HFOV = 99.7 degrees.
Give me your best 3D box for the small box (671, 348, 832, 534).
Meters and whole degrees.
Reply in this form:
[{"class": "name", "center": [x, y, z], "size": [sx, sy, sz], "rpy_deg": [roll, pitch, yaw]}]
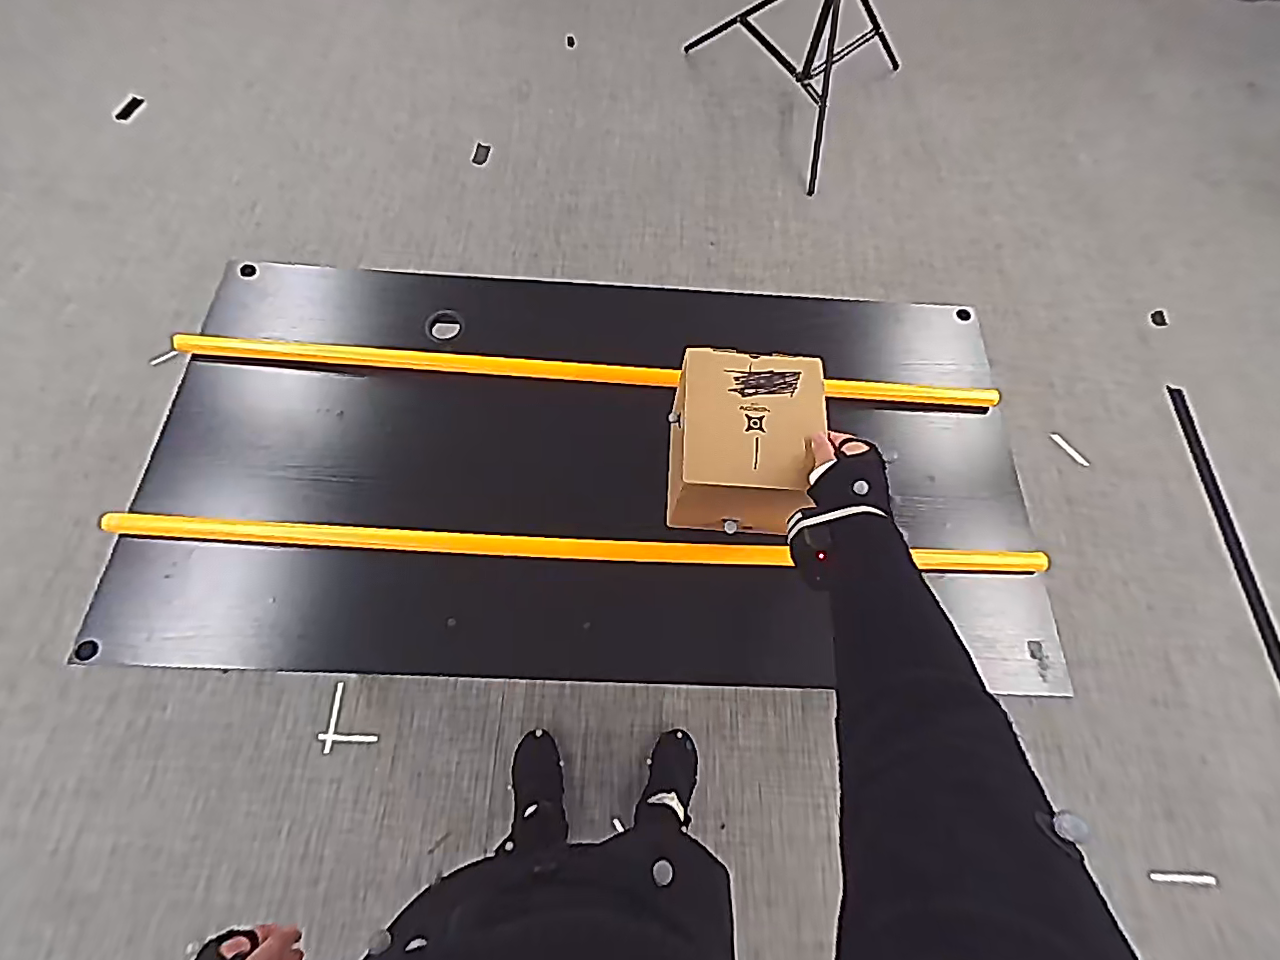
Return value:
[{"class": "small box", "center": [0.130, -0.043, 0.693], "size": [0.168, 0.176, 0.179], "rpy_deg": [4, 69, -1]}]
